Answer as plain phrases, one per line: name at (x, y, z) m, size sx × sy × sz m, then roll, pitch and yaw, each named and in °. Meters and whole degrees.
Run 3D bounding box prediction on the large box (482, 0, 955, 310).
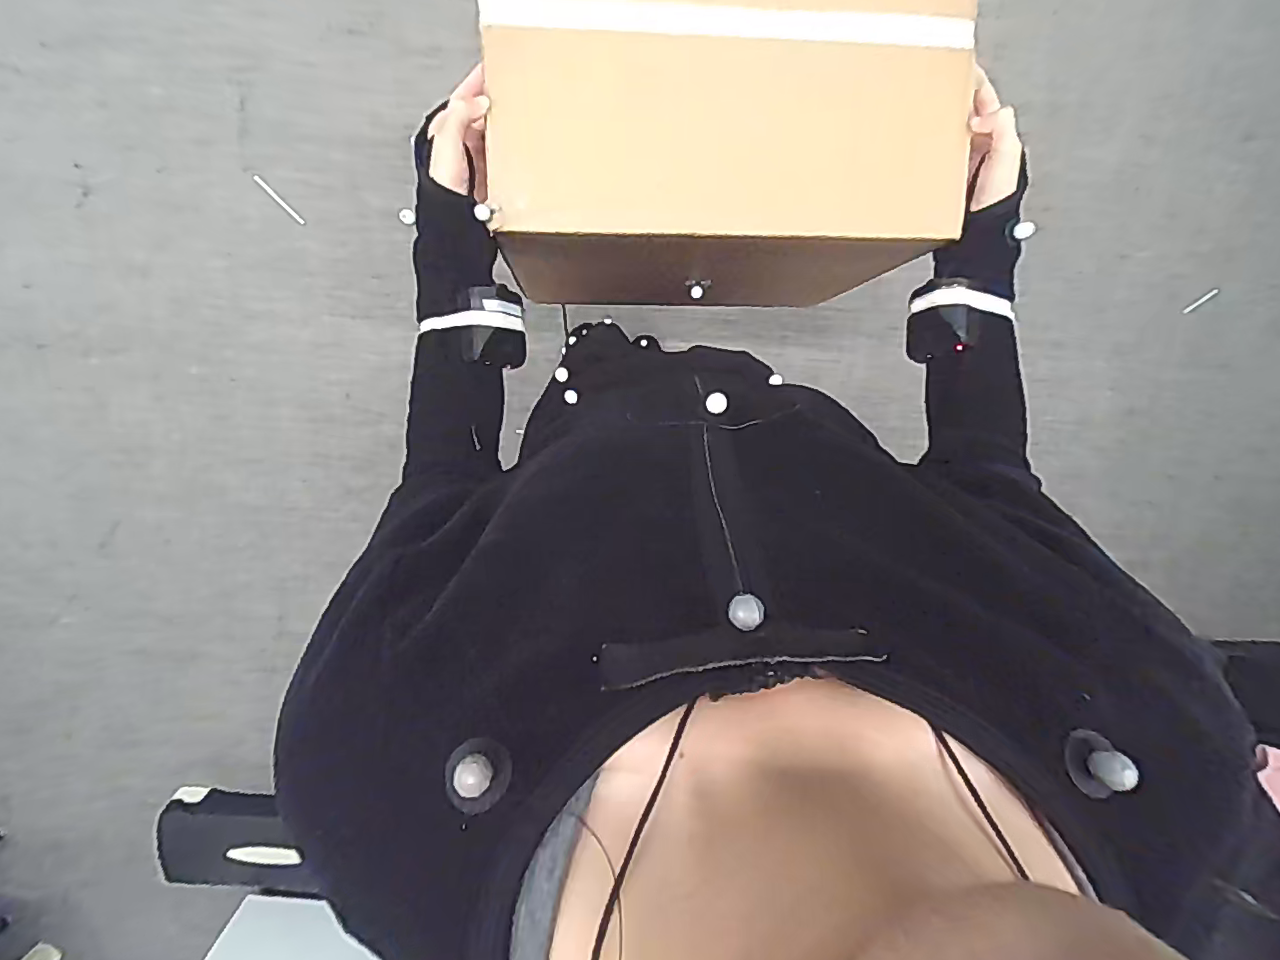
large box at (0.061, -0.373, 0.599) m, size 0.408 × 0.320 × 0.320 m, roll -2°, pitch 96°, yaw -5°
